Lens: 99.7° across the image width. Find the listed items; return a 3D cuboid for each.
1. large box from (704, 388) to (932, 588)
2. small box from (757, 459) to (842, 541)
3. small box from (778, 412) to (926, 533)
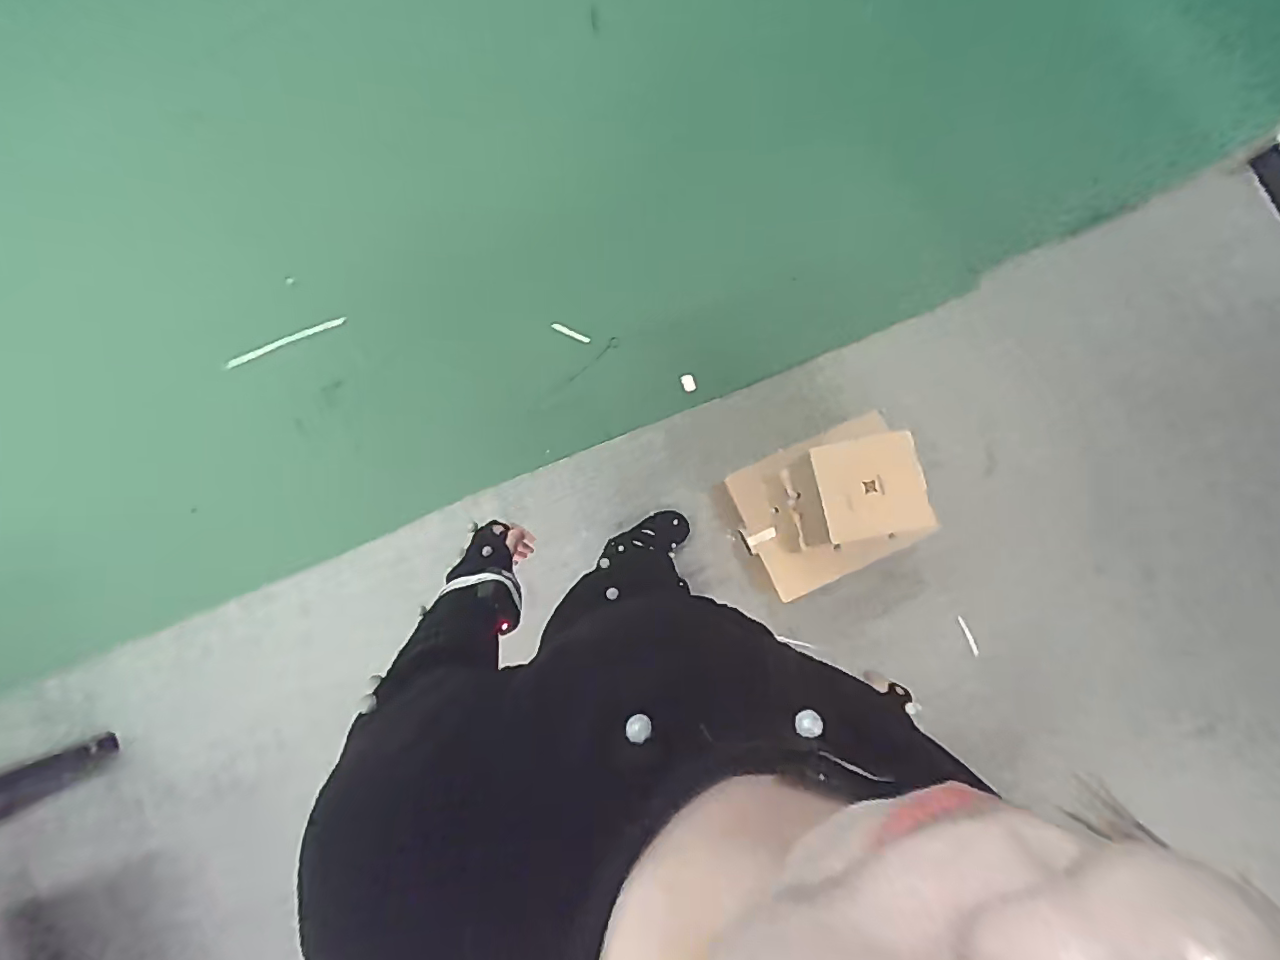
[{"bbox_3d":[0.419,0.036,1.372,0.408,0.320,0.320,-29,83,-3],"label":"large box"},{"bbox_3d":[0.365,0.025,1.129,0.179,0.176,0.168,-19,82,-1],"label":"small box"},{"bbox_3d":[0.367,-0.005,0.969,0.179,0.176,0.168,-15,81,1],"label":"small box"}]
